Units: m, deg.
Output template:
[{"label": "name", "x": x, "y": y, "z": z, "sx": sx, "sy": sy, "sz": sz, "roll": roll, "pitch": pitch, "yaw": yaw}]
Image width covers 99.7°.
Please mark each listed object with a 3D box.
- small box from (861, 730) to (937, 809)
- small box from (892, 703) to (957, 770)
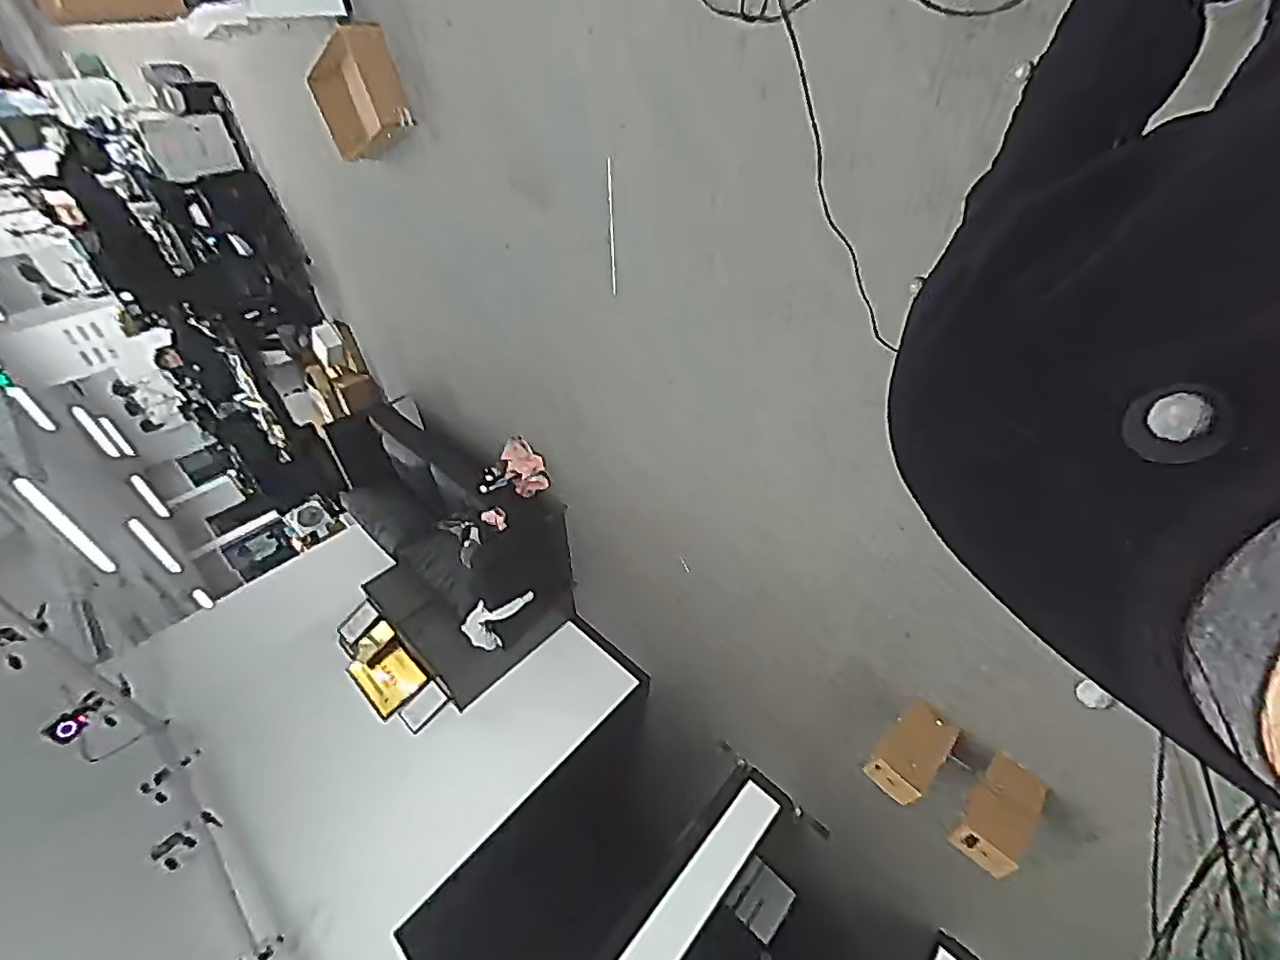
[{"label": "small box", "x": 0.973, "y": 1.080, "z": 2.023, "sx": 0.179, "sy": 0.176, "sz": 0.168, "roll": 38, "pitch": 142, "yaw": 23}, {"label": "small box", "x": 1.097, "y": 1.012, "z": 2.109, "sx": 0.168, "sy": 0.176, "sz": 0.179, "roll": 38, "pitch": 142, "yaw": 23}]
